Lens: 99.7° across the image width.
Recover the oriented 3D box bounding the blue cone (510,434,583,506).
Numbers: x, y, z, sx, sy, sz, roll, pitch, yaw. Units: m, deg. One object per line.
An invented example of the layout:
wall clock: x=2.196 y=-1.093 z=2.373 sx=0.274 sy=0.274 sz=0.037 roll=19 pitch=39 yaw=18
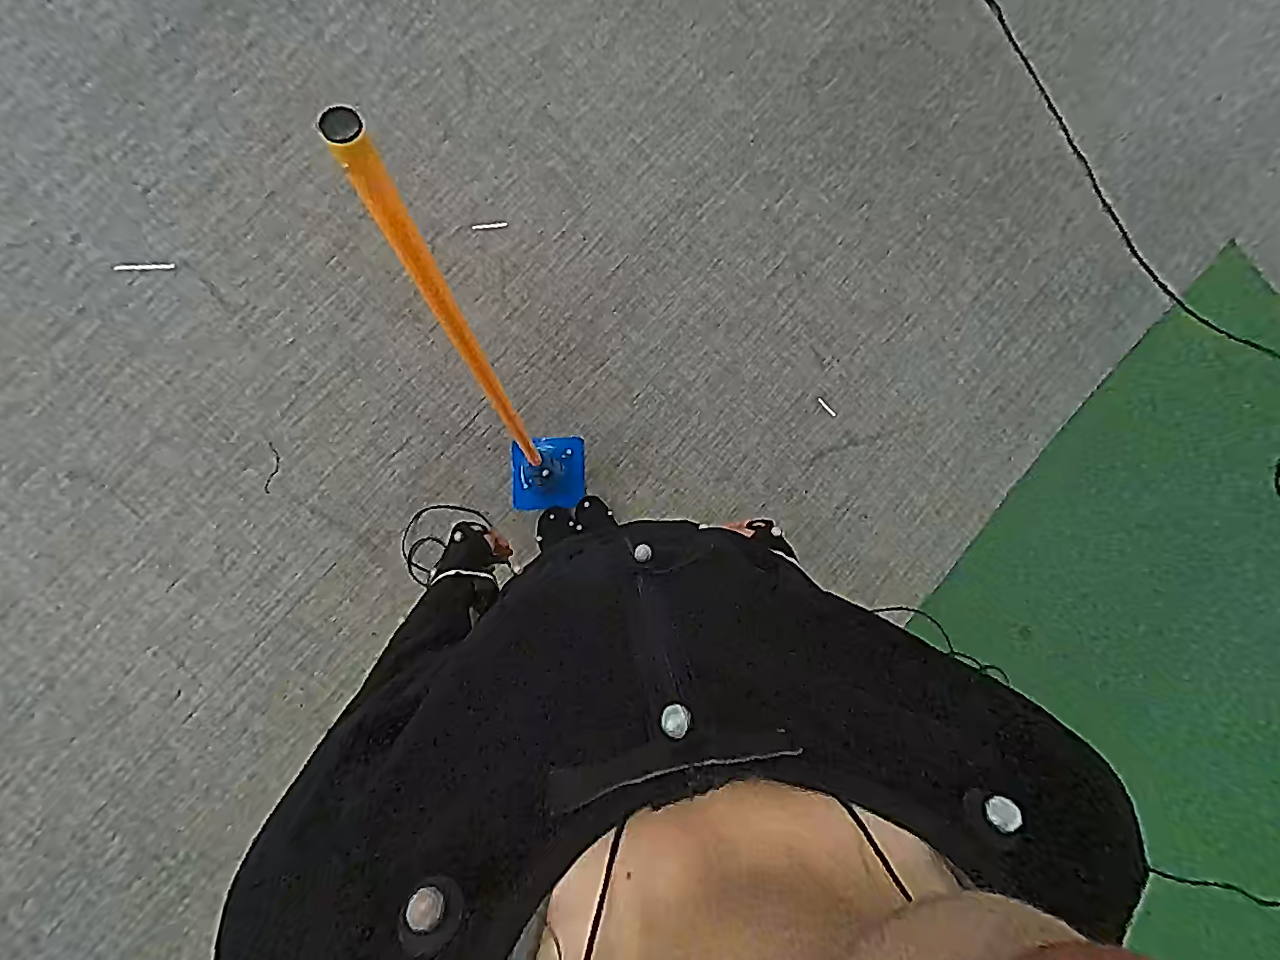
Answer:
blue cone: x=-0.238 y=-0.039 z=1.305 sx=0.192 sy=0.380 sz=0.193 roll=-3 pitch=86 yaw=-6
